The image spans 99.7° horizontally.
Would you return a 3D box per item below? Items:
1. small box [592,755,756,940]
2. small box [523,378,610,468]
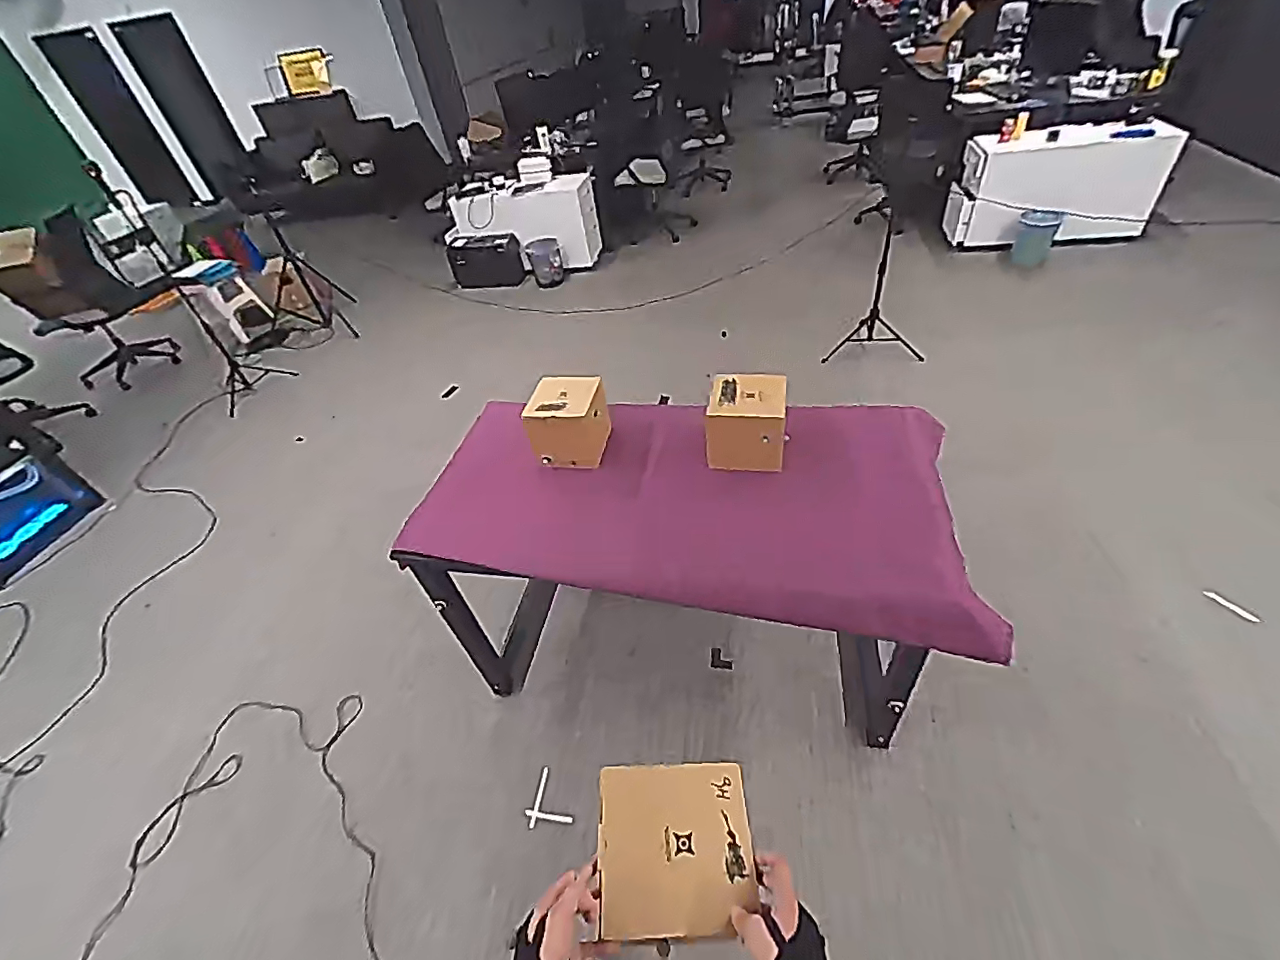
[{"bbox_3d":[0.032,0.461,0.677,0.179,0.176,0.168,-1,47,-3],"label":"small box"},{"bbox_3d":[-0.182,-0.146,1.408,0.168,0.176,0.179,2,44,12],"label":"small box"}]
